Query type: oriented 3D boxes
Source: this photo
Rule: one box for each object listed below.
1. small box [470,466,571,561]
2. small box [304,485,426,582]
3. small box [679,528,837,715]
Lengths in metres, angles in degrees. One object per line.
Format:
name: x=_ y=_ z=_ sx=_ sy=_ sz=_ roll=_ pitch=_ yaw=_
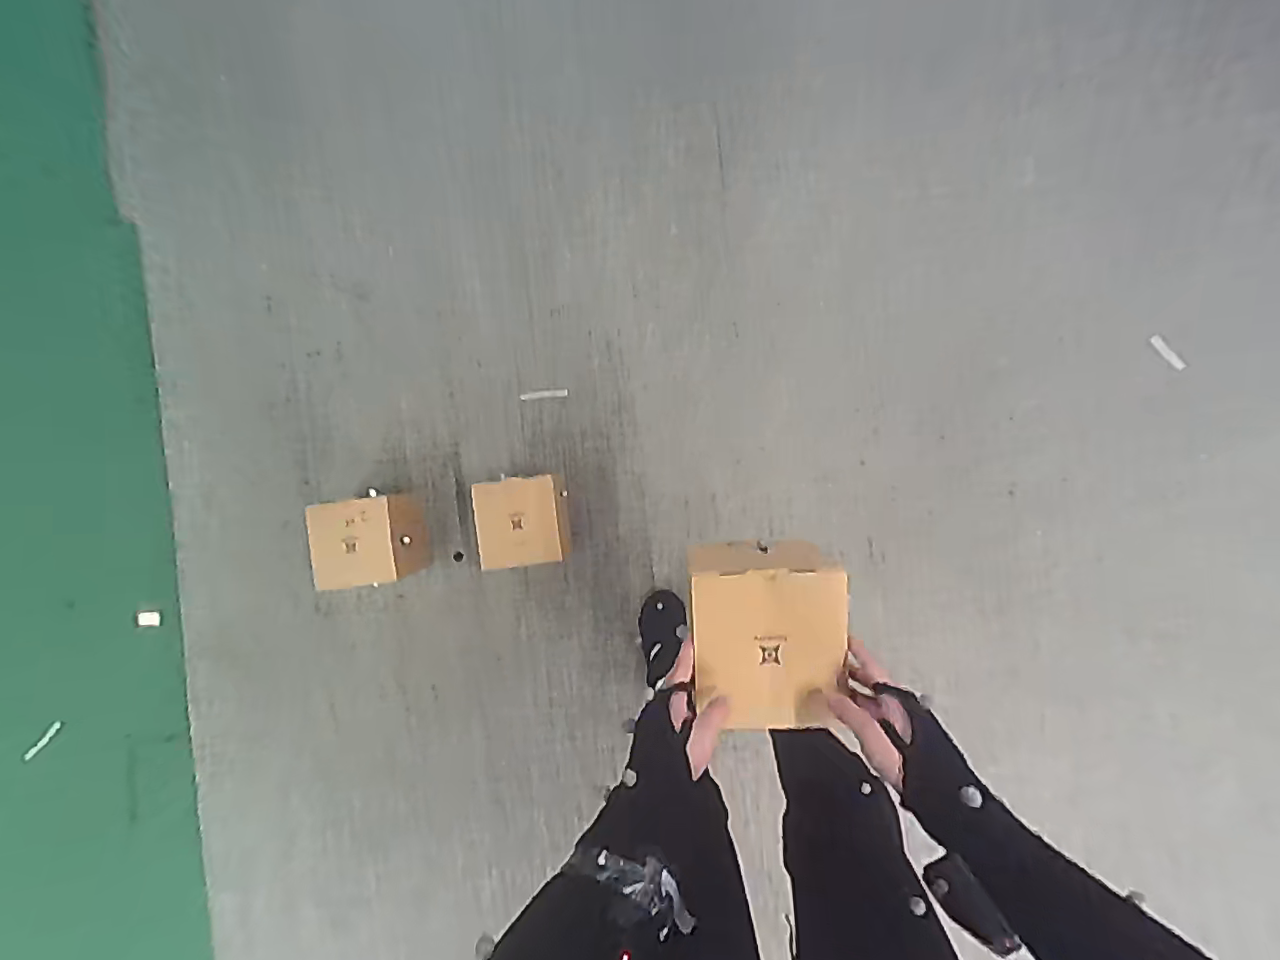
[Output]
small box: x=-0.246 y=0.066 z=1.146 sx=0.168 sy=0.176 sz=0.179 roll=-7 pitch=92 yaw=1
small box: x=-0.572 y=0.107 z=1.148 sx=0.168 sy=0.176 sz=0.179 roll=-7 pitch=91 yaw=0
small box: x=0.134 y=0.162 z=0.661 sx=0.168 sy=0.176 sz=0.179 roll=-3 pitch=94 yaw=4
